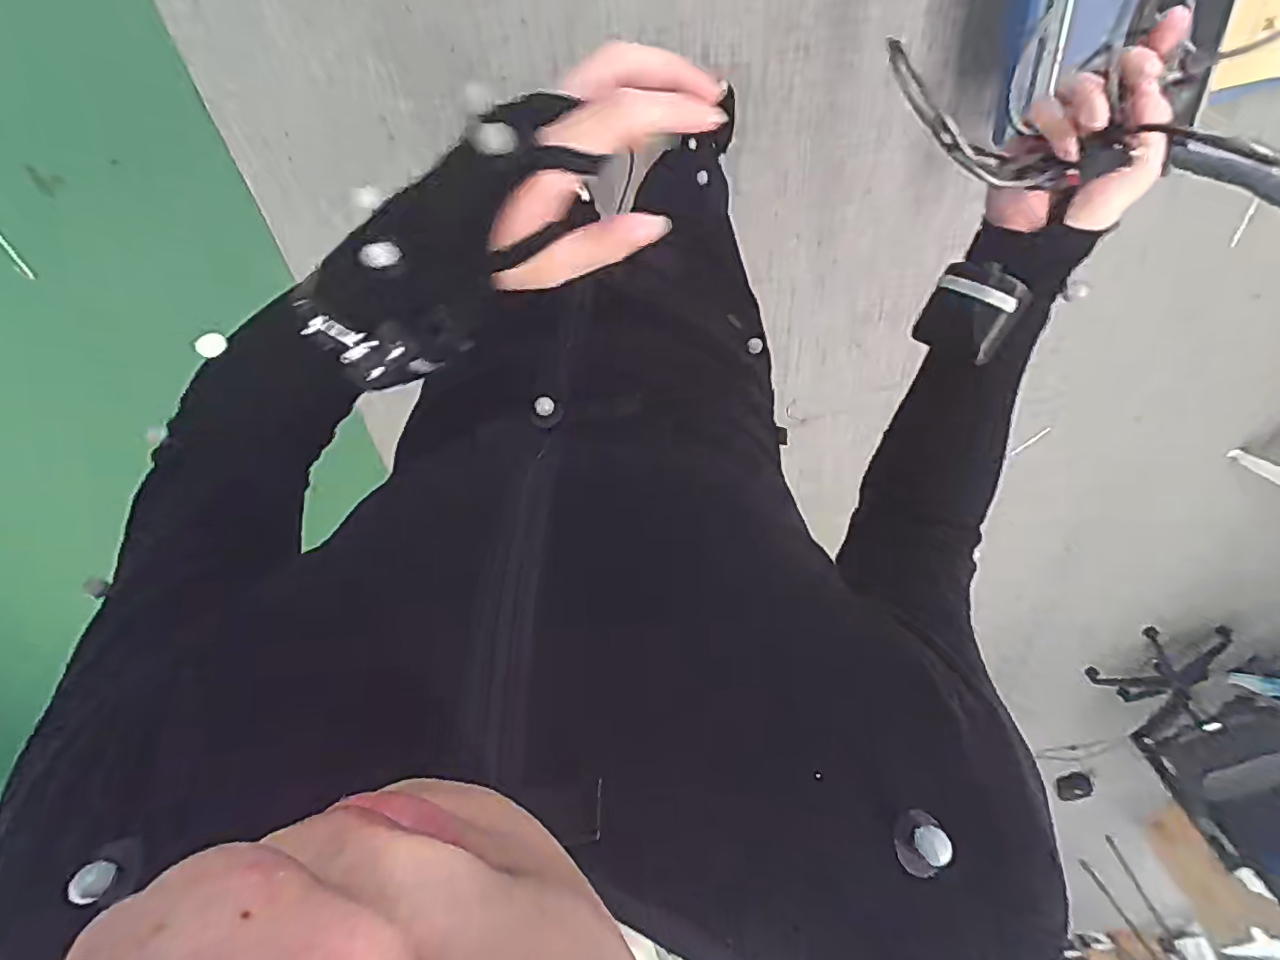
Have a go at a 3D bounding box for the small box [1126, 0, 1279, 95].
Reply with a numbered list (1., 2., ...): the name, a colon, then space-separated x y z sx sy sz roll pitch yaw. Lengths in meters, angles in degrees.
1. small box: 1.030 -0.800 0.950 0.179 0.176 0.168 -9 129 6
